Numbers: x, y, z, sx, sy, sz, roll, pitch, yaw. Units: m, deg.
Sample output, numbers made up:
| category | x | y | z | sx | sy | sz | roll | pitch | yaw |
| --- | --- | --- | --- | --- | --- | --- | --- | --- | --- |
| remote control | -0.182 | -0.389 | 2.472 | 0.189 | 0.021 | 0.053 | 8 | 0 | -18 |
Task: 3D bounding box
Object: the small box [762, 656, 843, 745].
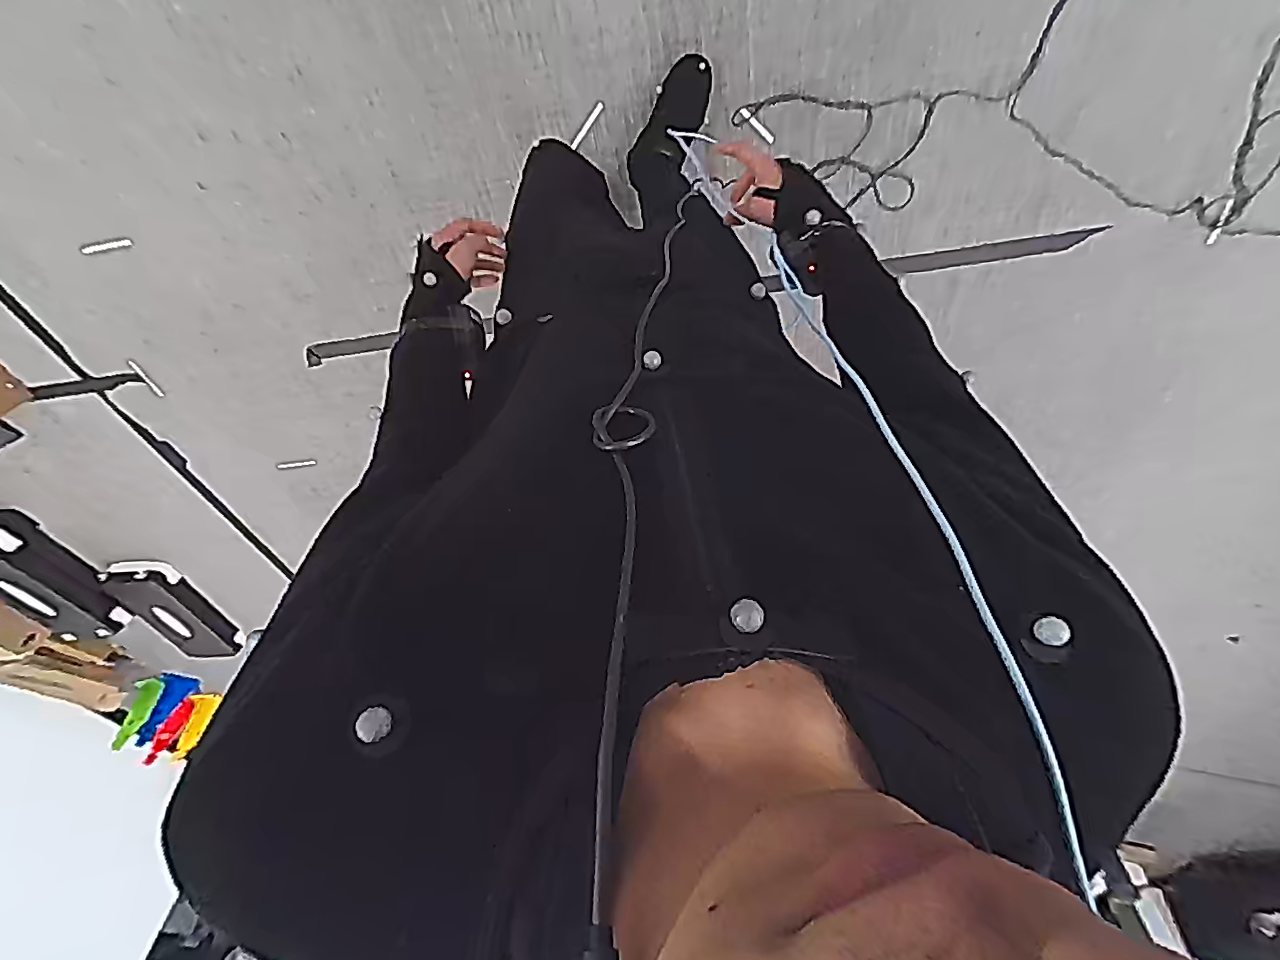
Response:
| category | x | y | z | sx | sy | sz | roll | pitch | yaw |
| --- | --- | --- | --- | --- | --- | --- | --- | --- | --- |
| small box | 0.421 | 0.584 | 1.437 | 0.179 | 0.176 | 0.168 | -5 | 133 | 6 |
